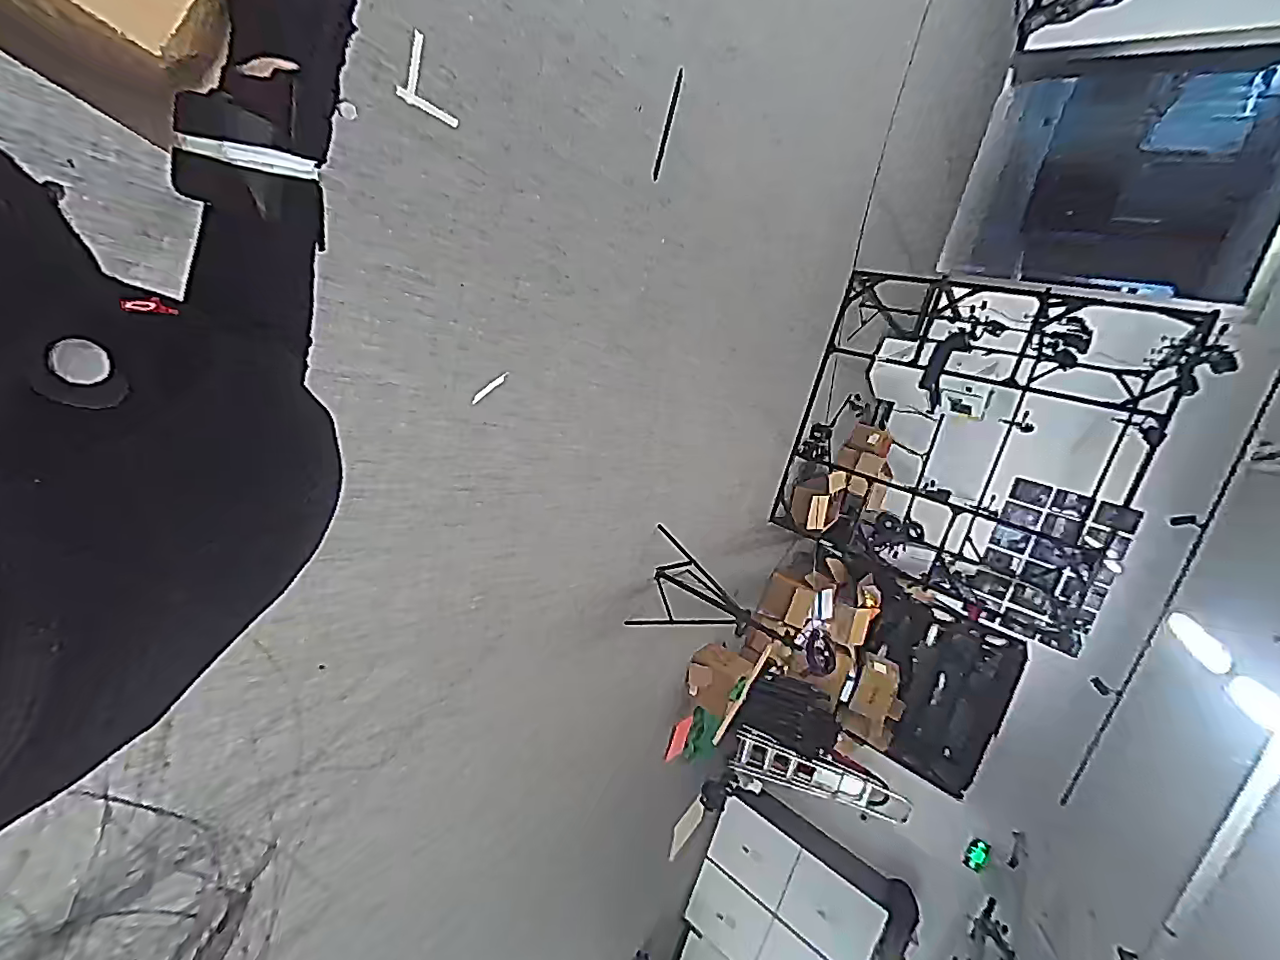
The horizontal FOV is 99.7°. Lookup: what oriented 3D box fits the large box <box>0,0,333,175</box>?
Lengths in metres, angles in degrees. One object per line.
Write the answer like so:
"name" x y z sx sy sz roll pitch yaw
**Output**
"large box" -0.434 -0.498 0.347 0.408 0.320 0.320 29 87 -34
